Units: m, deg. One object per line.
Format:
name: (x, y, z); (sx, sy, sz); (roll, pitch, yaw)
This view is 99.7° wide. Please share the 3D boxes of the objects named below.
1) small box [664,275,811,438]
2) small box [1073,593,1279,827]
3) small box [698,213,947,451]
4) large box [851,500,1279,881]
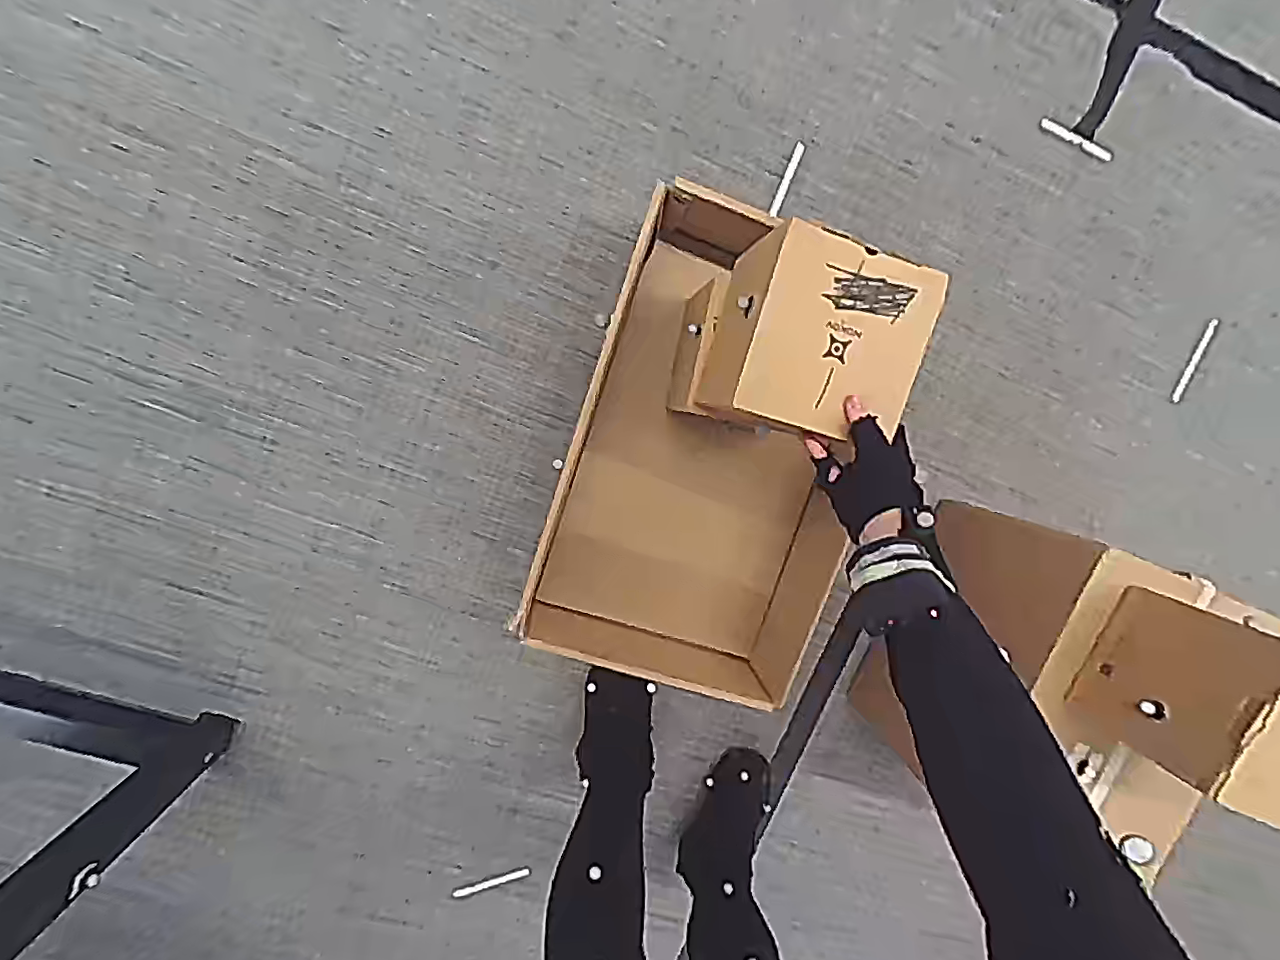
small box: (0.144, -0.161, 0.735); (0.179, 0.176, 0.168); (11, 98, -8)
small box: (0.632, 0.241, 0.581); (0.179, 0.176, 0.168); (23, 98, -9)
small box: (0.173, -0.144, 0.573); (0.168, 0.176, 0.179); (16, 98, -9)
large box: (0.601, 0.286, 0.833); (0.320, 0.320, 0.408); (21, 97, -8)
